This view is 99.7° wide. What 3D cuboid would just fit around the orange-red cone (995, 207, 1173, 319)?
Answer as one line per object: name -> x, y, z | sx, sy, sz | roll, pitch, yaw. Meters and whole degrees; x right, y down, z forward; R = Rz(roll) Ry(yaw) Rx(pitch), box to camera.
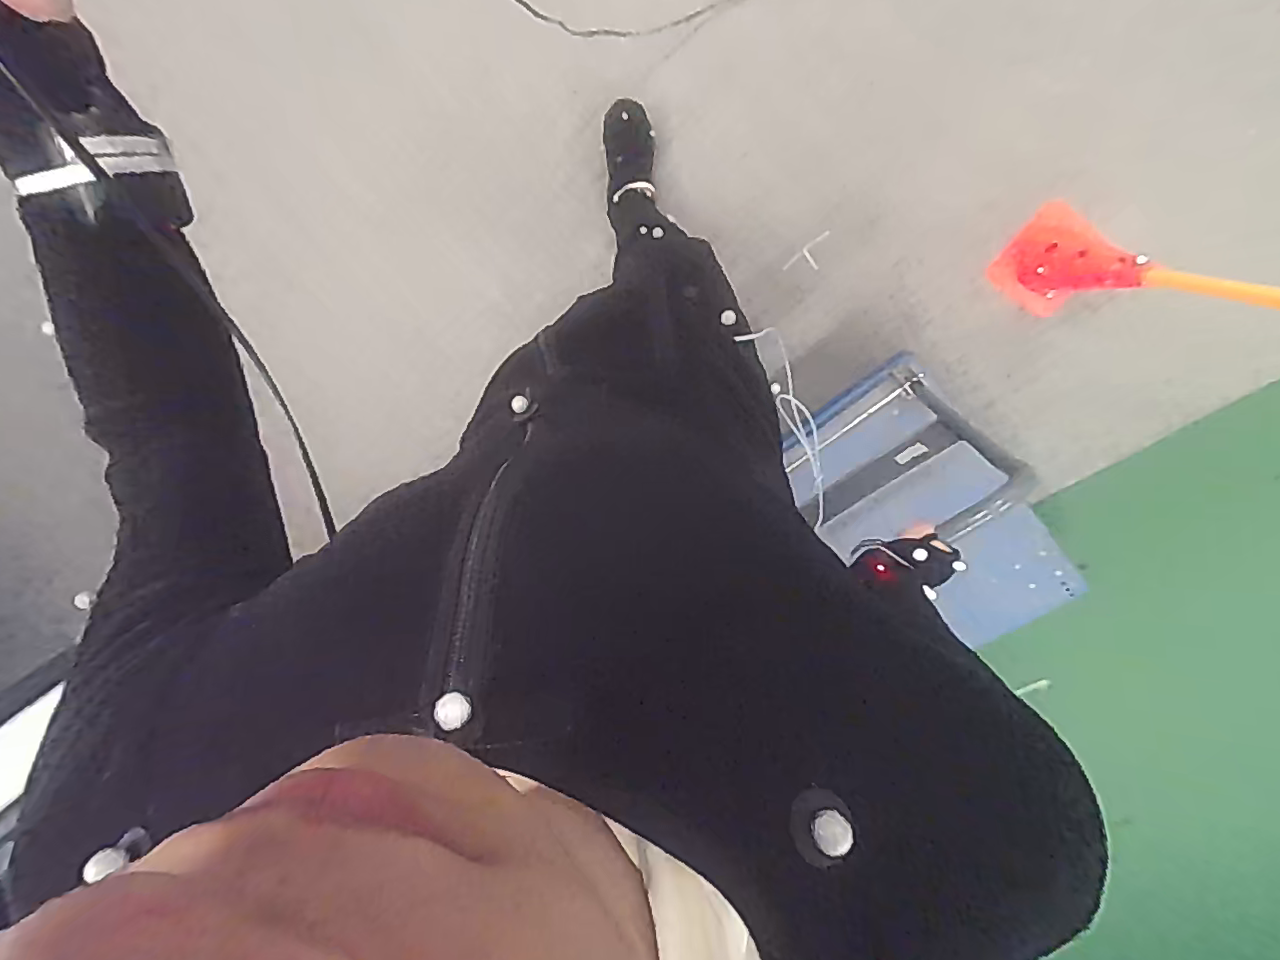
orange-red cone -> 0.963, -0.440, 1.132 | 0.198, 0.360, 0.199 | 34, 114, -9
